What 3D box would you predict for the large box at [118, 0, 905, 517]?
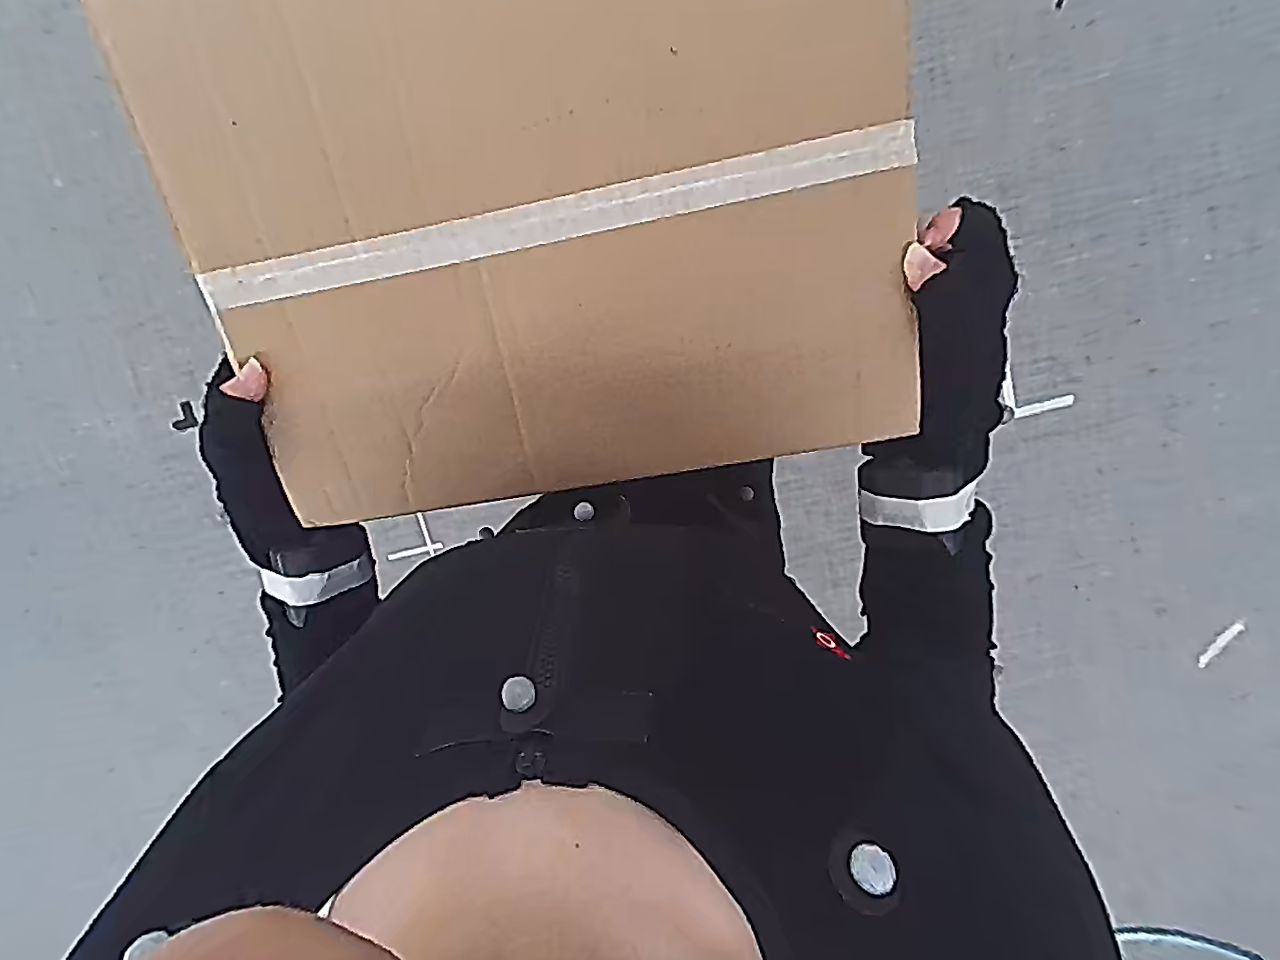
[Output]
[{"bbox_3d":[-0.048,-0.197,0.451,0.408,0.320,0.320,-9,108,6],"label":"large box"}]
